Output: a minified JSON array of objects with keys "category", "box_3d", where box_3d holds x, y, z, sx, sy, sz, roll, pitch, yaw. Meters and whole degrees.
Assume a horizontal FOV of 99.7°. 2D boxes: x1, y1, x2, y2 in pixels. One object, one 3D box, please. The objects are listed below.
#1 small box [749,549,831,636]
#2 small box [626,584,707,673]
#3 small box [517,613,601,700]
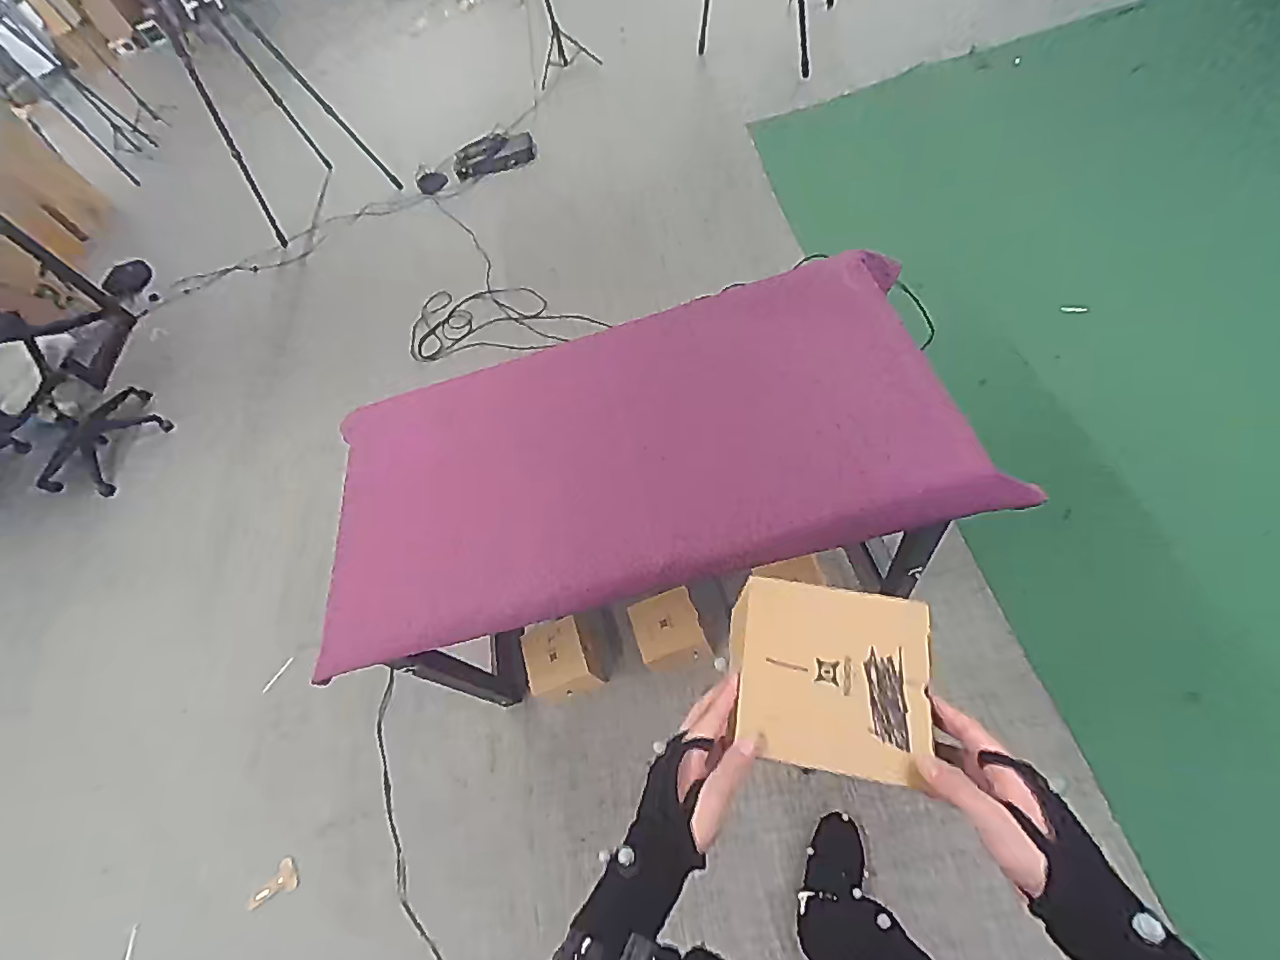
[{"category":"small box","box_3d":[0.407,0.312,1.480,0.179,0.176,0.168,-15,57,5]},{"category":"small box","box_3d":[0.079,0.417,1.503,0.179,0.176,0.168,-21,56,2]},{"category":"small box","box_3d":[-0.225,0.507,1.527,0.168,0.176,0.179,-22,56,1]}]
